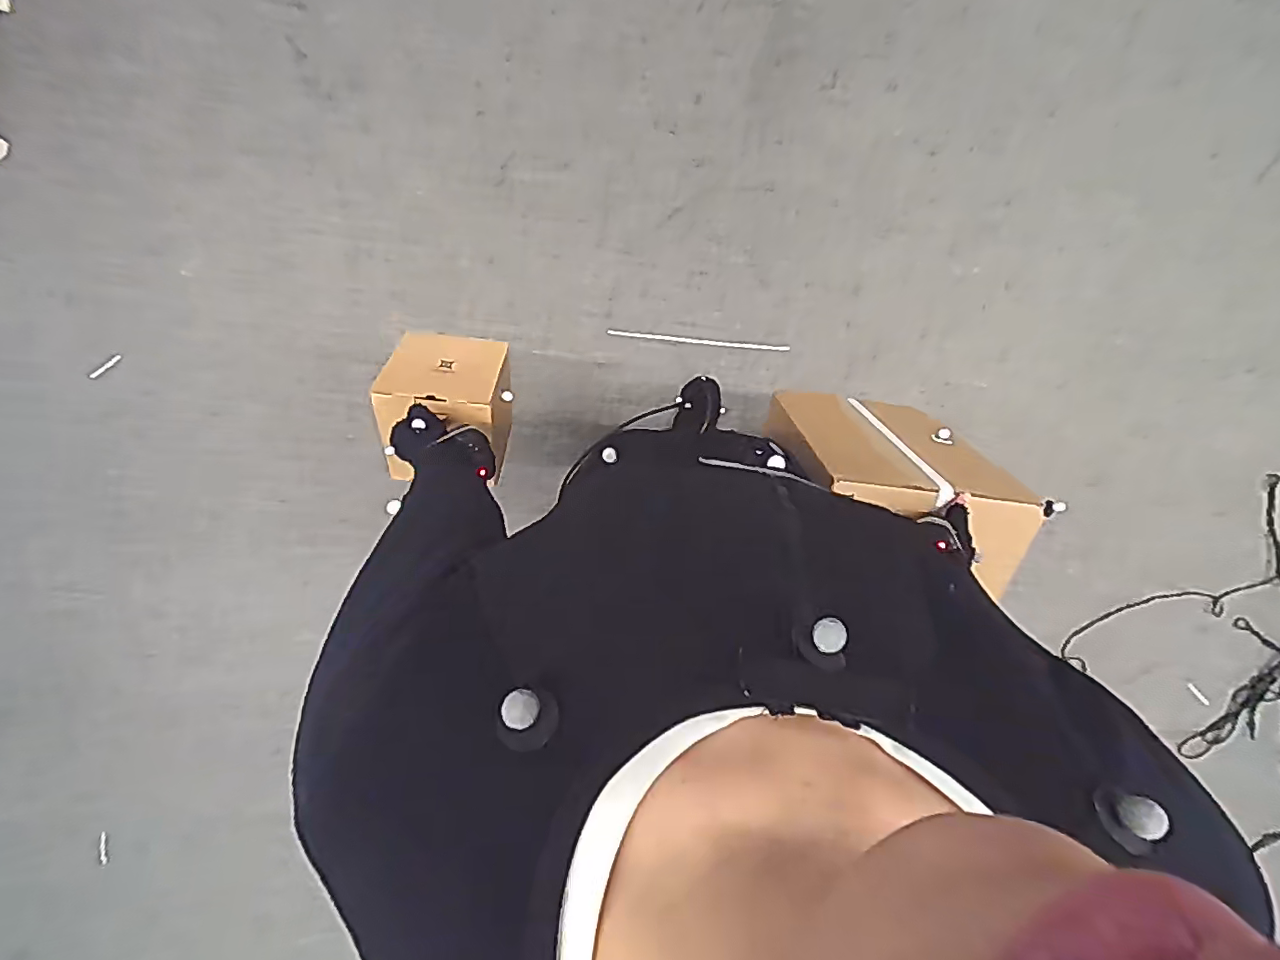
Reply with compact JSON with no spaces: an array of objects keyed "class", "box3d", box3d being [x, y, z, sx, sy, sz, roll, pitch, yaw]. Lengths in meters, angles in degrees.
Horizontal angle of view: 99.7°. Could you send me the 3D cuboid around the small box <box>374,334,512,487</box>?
[{"class":"small box","box3d":[-0.303,-0.113,0.876,0.168,0.179,0.176,5,132,-5]}]
